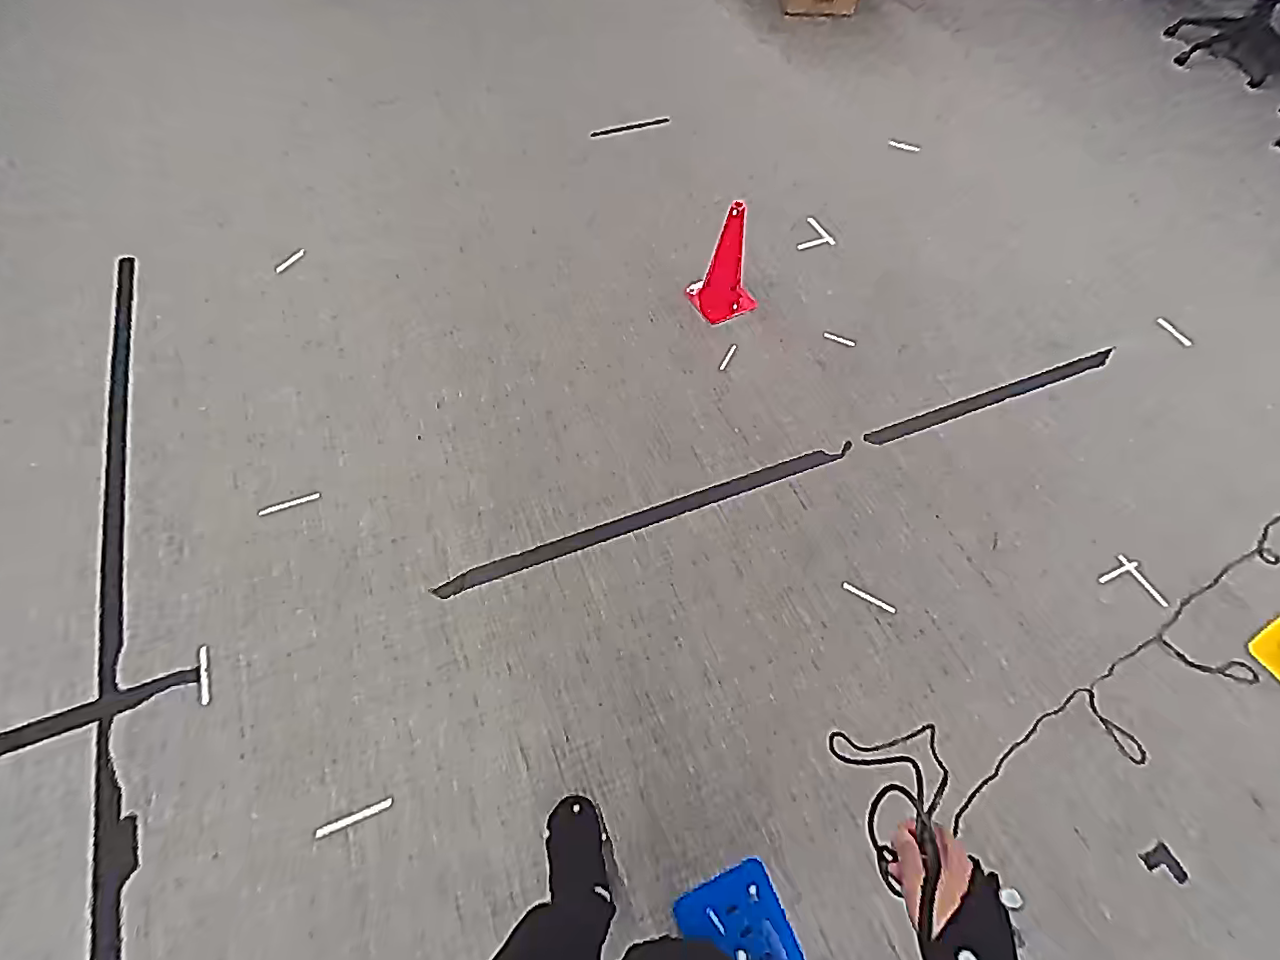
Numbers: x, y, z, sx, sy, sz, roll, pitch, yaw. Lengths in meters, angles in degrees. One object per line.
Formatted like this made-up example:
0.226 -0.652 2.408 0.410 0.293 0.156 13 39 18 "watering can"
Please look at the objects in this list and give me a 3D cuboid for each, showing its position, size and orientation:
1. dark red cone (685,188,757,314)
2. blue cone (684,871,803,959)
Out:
0.287 -0.742 1.737 0.202 0.394 0.201 -26 65 -16 "dark red cone"
0.199 0.792 0.877 0.193 0.380 0.192 -18 63 -12 "blue cone"
